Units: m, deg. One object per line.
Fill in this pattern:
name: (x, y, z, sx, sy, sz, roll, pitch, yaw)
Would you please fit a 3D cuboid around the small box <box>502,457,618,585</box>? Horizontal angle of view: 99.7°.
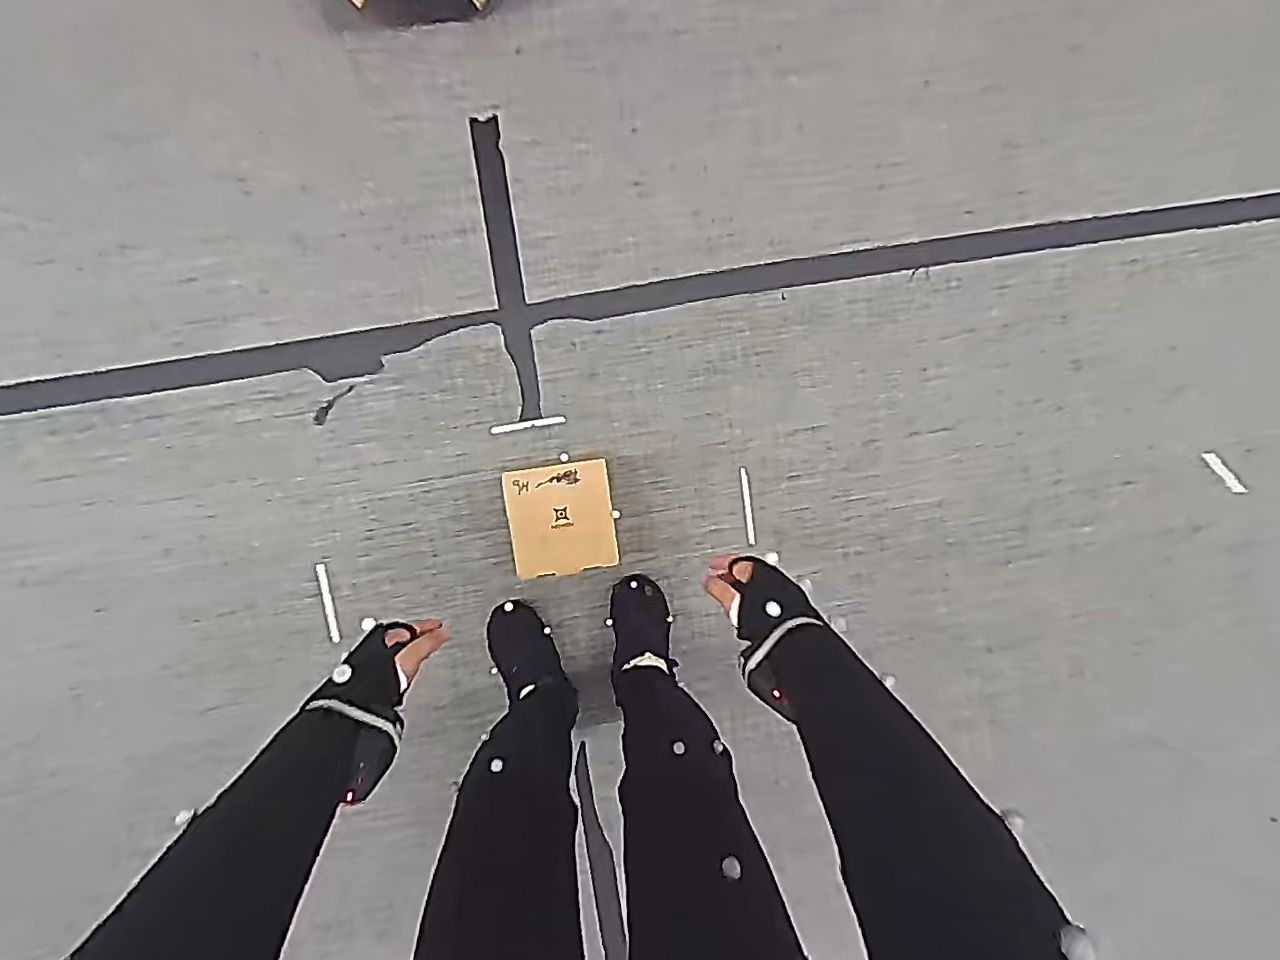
small box: (-0.130, 0.062, 0.928, 0.168, 0.176, 0.179, -8, 97, -4)
